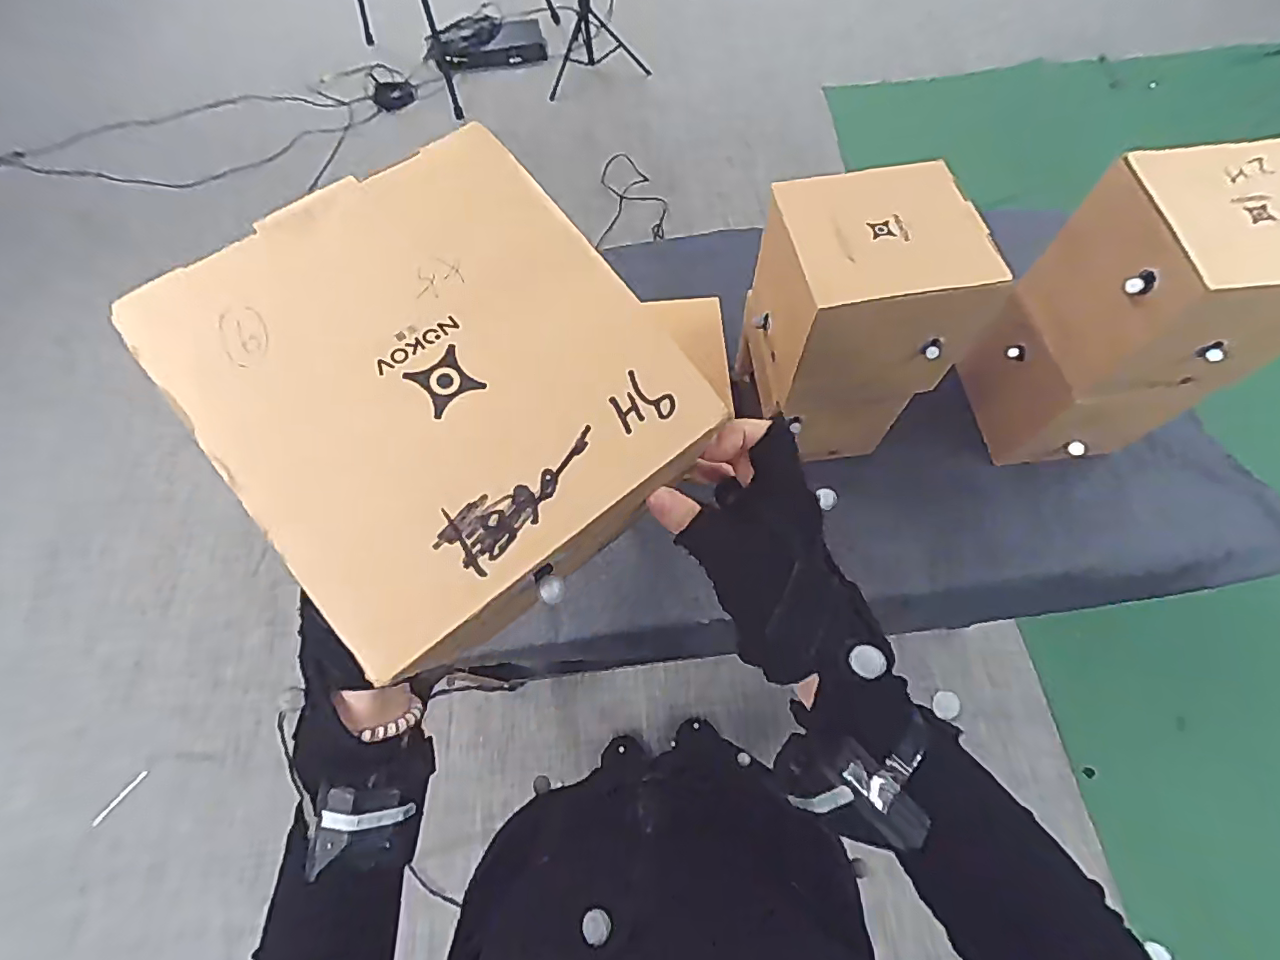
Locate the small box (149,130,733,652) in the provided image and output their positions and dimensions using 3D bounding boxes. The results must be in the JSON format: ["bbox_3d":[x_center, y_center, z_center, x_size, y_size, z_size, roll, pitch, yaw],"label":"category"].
[{"bbox_3d":[-0.085,-0.029,0.293,0.168,0.176,0.179,-37,83,-14],"label":"small box"}]

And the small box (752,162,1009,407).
[{"bbox_3d":[0.231,-0.197,0.574,0.179,0.176,0.168,-8,64,-1],"label":"small box"}]

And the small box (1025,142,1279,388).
[{"bbox_3d":[0.552,-0.208,0.560,0.168,0.176,0.179,-4,65,1],"label":"small box"}]
